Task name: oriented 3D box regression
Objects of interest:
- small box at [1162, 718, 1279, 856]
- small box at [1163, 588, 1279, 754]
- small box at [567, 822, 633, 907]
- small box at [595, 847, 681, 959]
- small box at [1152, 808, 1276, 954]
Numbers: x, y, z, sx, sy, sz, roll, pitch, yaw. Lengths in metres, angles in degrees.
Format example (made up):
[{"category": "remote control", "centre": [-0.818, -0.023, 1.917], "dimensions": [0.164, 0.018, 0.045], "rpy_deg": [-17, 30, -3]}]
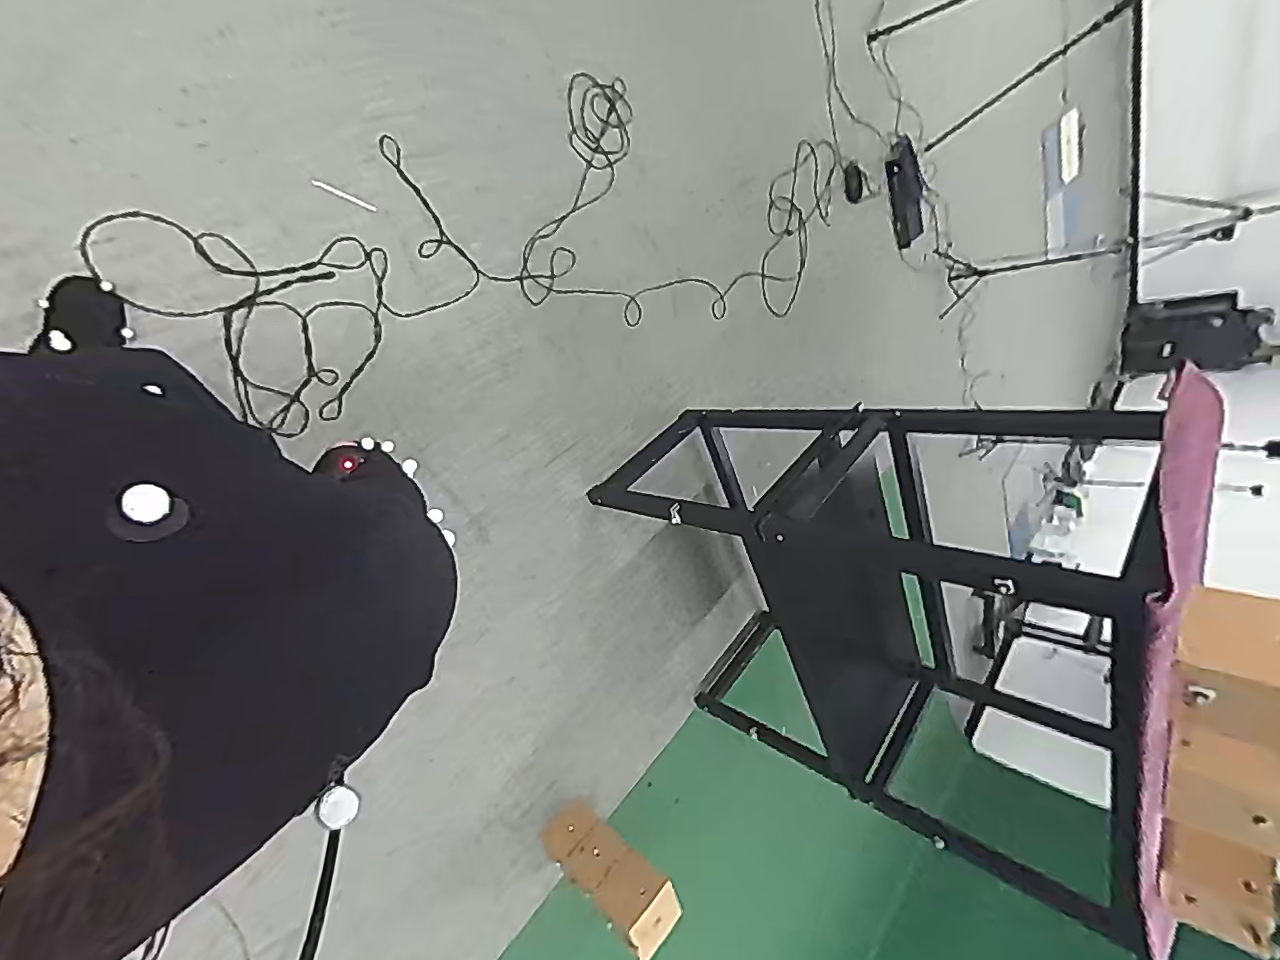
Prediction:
[{"category": "small box", "centre": [1.130, 0.565, 1.038], "dimensions": [0.168, 0.176, 0.179], "rpy_deg": [-41, 121, -31]}, {"category": "small box", "centre": [0.975, 0.301, 0.866], "dimensions": [0.179, 0.176, 0.168], "rpy_deg": [-44, 121, -27]}, {"category": "small box", "centre": [-0.112, 1.272, 1.778], "dimensions": [0.168, 0.176, 0.179], "rpy_deg": [-34, 116, -34]}, {"category": "small box", "centre": [-0.008, 1.278, 1.648], "dimensions": [0.179, 0.176, 0.168], "rpy_deg": [-31, 115, -35]}, {"category": "small box", "centre": [1.259, 0.864, 1.191], "dimensions": [0.179, 0.176, 0.168], "rpy_deg": [-39, 118, -33]}]
